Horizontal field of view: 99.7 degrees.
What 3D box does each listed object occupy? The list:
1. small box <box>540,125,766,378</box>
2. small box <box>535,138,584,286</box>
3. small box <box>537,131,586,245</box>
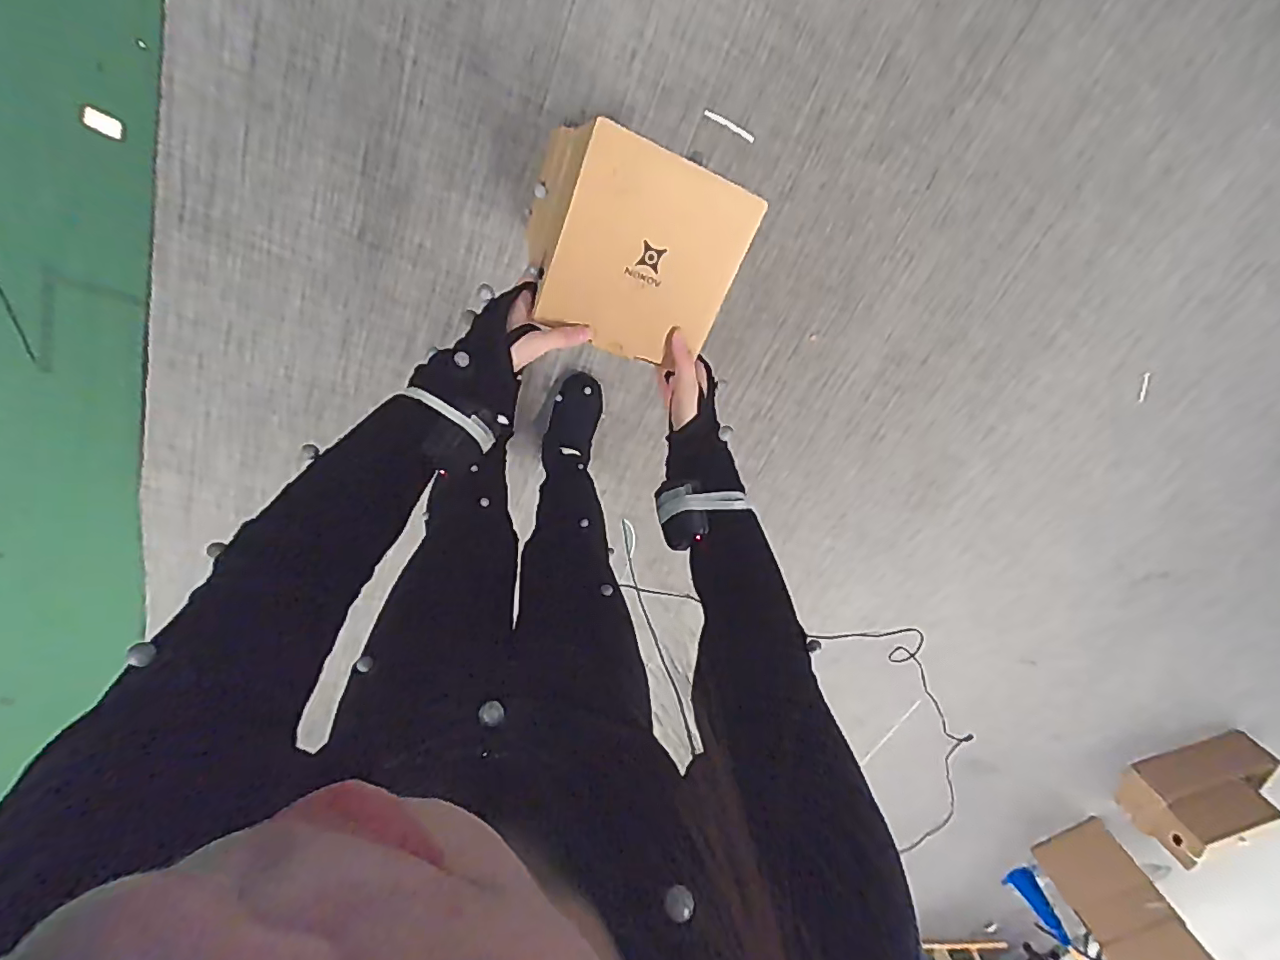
[{"bbox_3d":[-0.004,-0.237,0.564,0.168,0.176,0.179,15,118,-20],"label":"small box"},{"bbox_3d":[-0.030,-0.320,0.702,0.179,0.176,0.168,15,117,-18],"label":"small box"},{"bbox_3d":[-0.063,-0.409,0.836,0.168,0.176,0.179,13,118,-17],"label":"small box"}]
